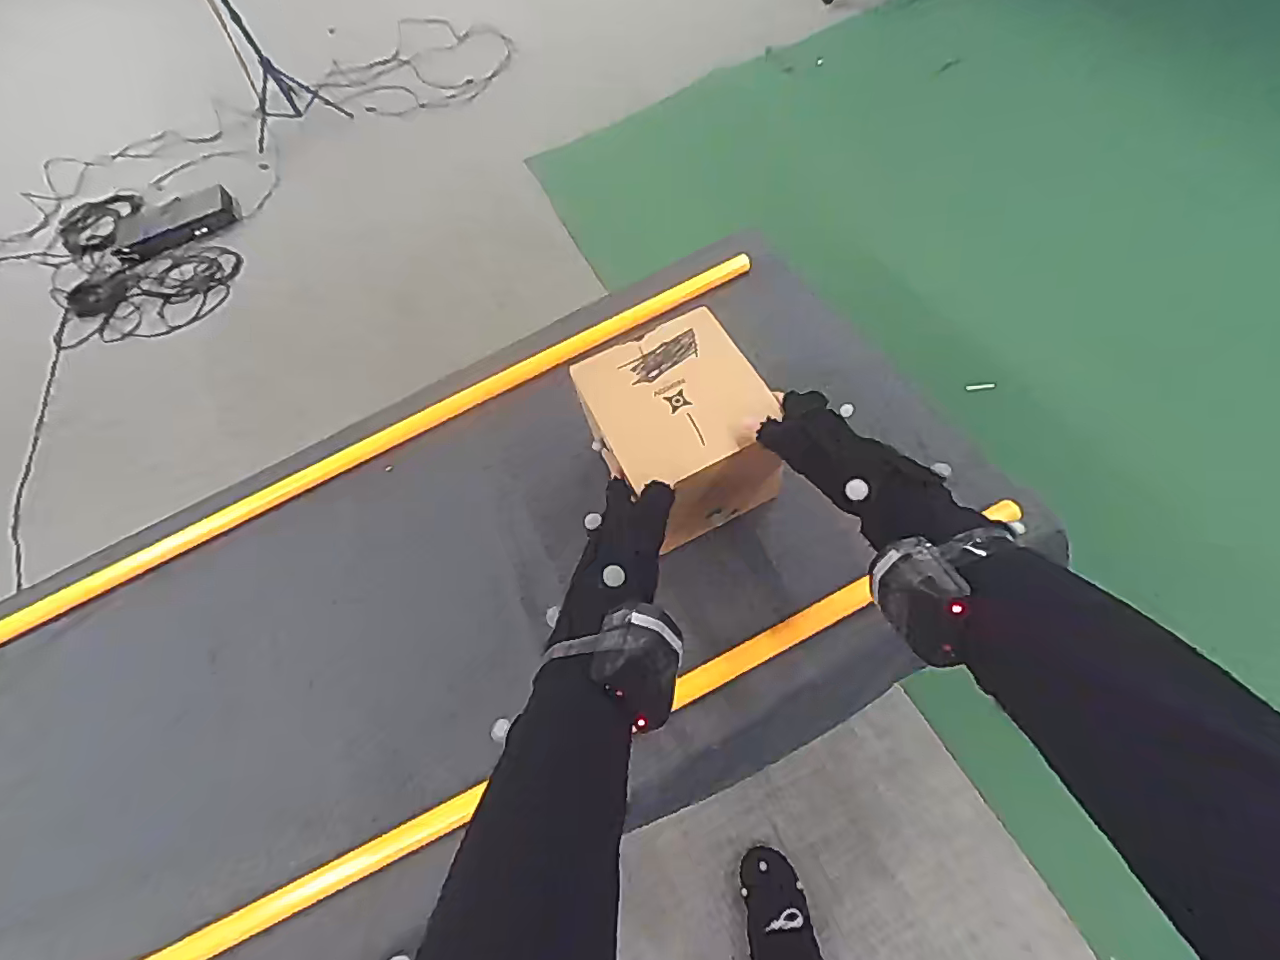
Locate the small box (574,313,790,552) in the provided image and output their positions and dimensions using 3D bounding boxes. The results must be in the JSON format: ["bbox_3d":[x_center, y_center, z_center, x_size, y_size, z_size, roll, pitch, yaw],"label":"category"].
[{"bbox_3d":[0.045,-0.046,0.614,0.168,0.176,0.179,-27,64,-5],"label":"small box"}]
